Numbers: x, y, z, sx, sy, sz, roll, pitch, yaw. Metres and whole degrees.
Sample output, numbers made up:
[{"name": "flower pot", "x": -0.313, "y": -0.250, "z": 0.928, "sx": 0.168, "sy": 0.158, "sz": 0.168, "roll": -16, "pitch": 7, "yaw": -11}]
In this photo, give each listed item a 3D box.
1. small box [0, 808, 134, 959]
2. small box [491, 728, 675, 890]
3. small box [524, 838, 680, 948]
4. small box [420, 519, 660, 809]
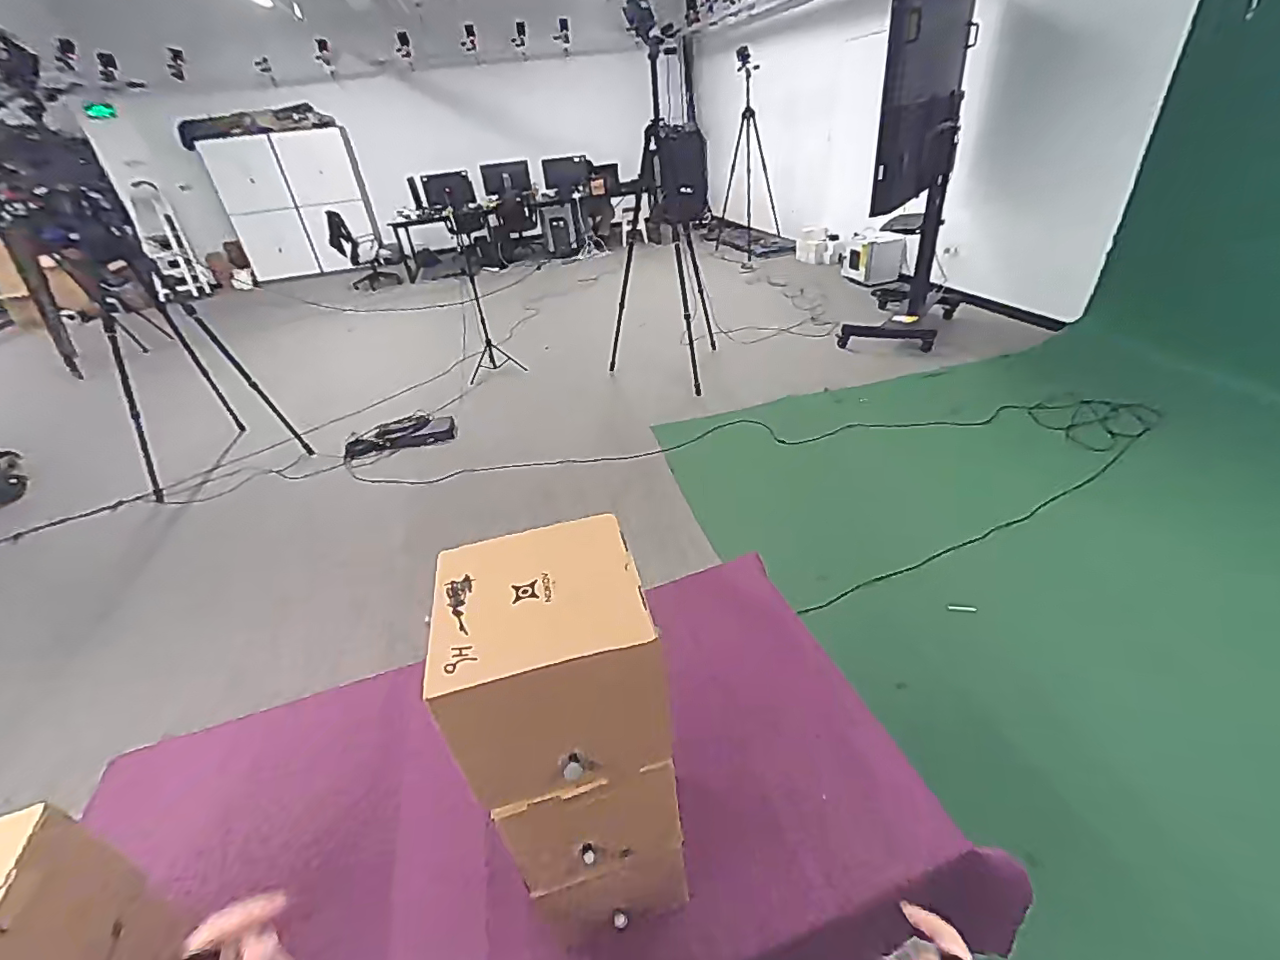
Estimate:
[{"name": "small box", "x": -0.613, "y": 0.439, "z": 0.475, "sx": 0.179, "sy": 0.176, "sz": 0.168, "roll": -16, "pitch": 35, "yaw": -14}, {"name": "small box", "x": -0.066, "y": 0.299, "z": 0.594, "sx": 0.168, "sy": 0.176, "sz": 0.179, "roll": -13, "pitch": 35, "yaw": -10}, {"name": "small box", "x": -0.054, "y": 0.435, "z": 0.683, "sx": 0.168, "sy": 0.176, "sz": 0.179, "roll": -14, "pitch": 35, "yaw": -9}, {"name": "small box", "x": -0.083, "y": 0.164, "z": 0.500, "sx": 0.179, "sy": 0.176, "sz": 0.168, "roll": -11, "pitch": 34, "yaw": -9}]
